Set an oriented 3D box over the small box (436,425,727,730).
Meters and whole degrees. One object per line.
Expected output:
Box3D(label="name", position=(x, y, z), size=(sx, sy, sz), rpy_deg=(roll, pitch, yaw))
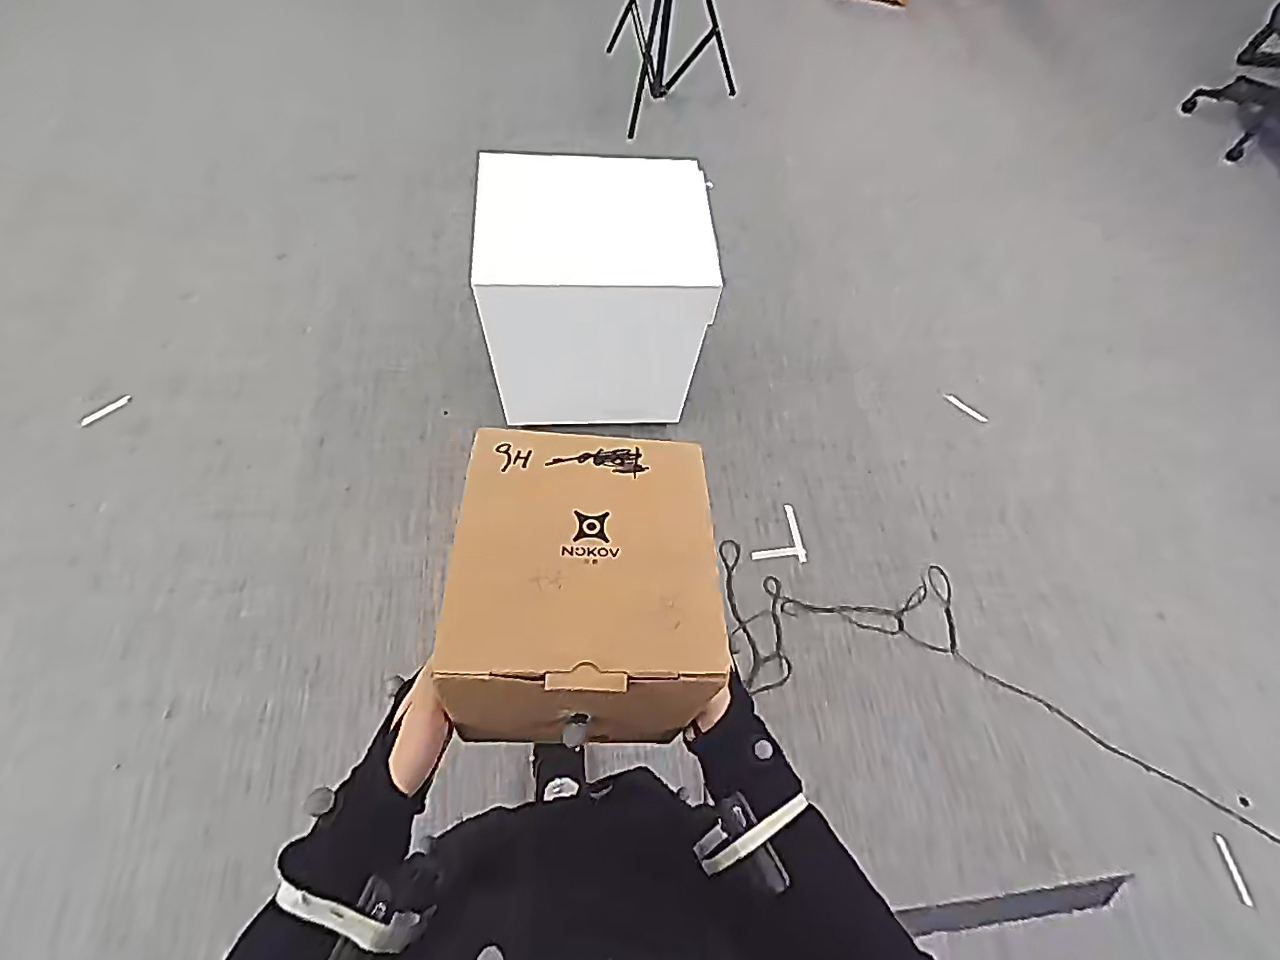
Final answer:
Box3D(label="small box", position=(-0.044, 0.083, 0.410), size=(0.168, 0.176, 0.179), rpy_deg=(4, 54, -9))
